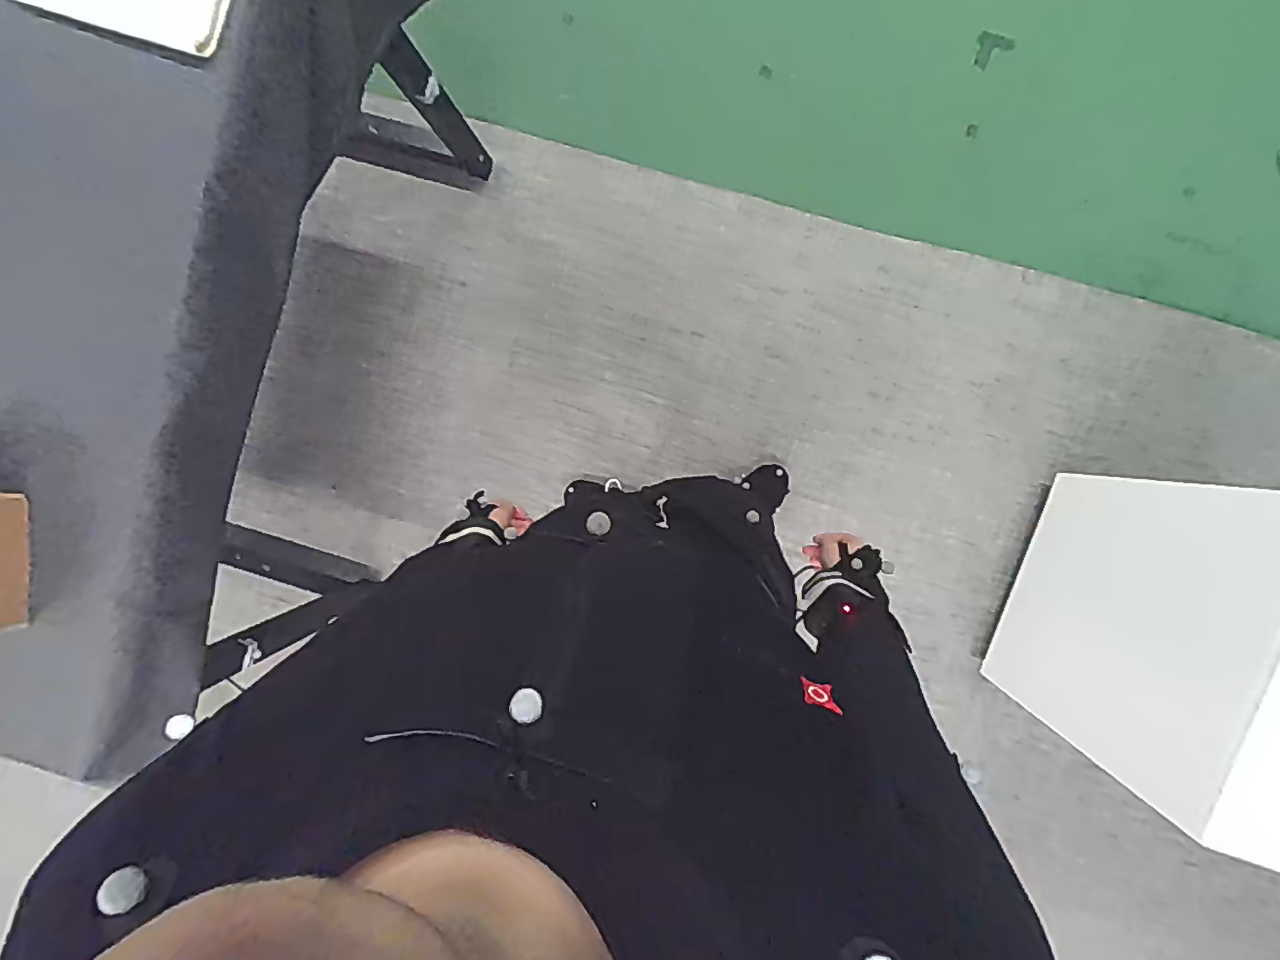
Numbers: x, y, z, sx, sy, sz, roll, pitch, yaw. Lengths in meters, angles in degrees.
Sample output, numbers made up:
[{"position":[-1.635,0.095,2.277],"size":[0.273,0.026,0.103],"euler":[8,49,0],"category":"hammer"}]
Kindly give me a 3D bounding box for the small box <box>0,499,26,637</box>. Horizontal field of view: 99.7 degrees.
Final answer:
[{"position":[-0.876,0.112,0.622],"size":[0.168,0.176,0.179],"euler":[4,93,5],"category":"small box"}]
